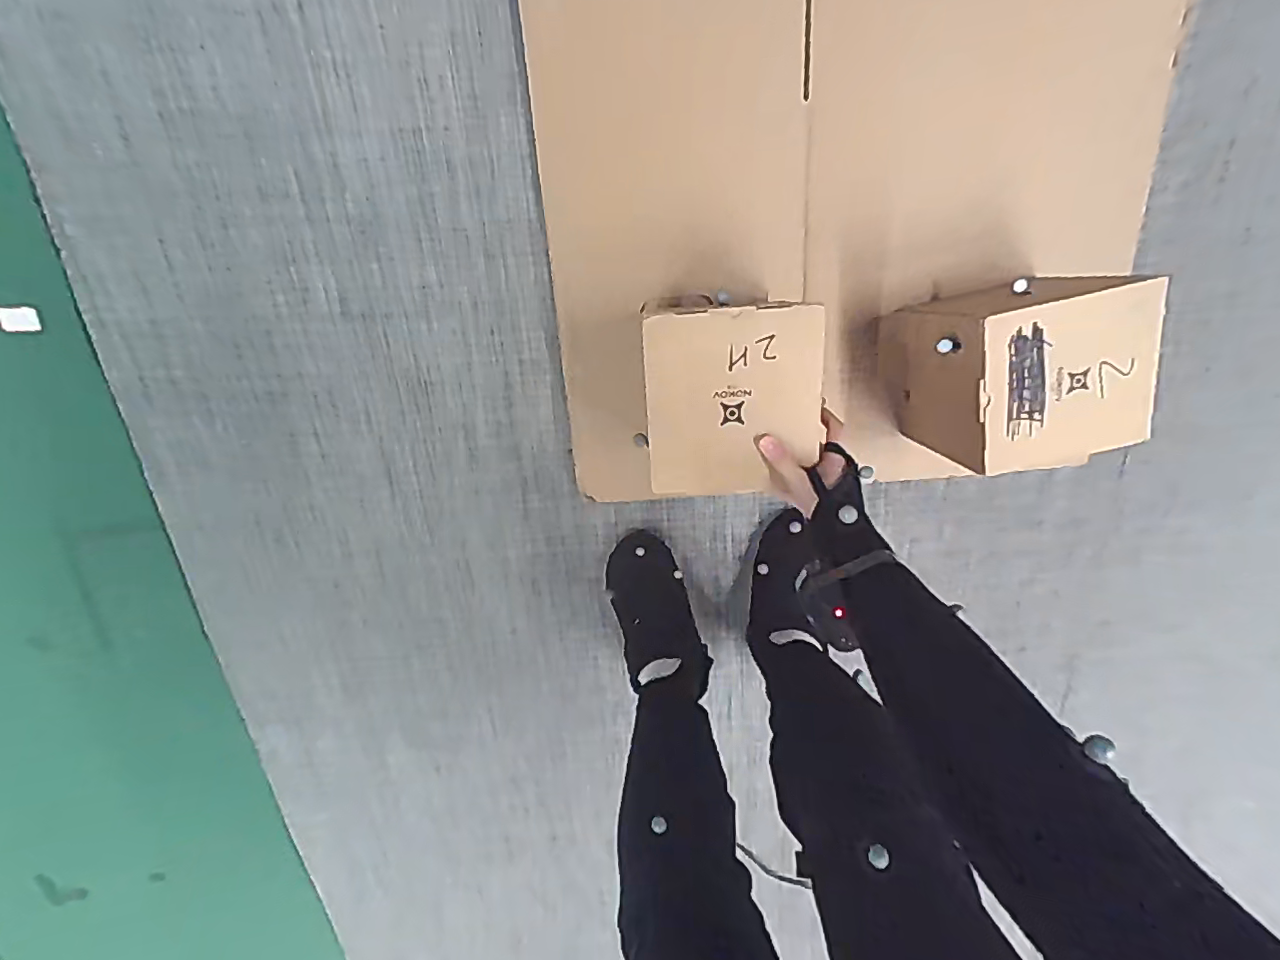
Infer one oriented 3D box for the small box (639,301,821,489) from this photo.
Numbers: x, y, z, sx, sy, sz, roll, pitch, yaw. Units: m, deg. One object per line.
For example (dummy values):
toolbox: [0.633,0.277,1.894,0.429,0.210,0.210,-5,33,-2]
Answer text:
small box: [0.089,-0.100,0.588,0.168,0.176,0.179,-2,108,3]
